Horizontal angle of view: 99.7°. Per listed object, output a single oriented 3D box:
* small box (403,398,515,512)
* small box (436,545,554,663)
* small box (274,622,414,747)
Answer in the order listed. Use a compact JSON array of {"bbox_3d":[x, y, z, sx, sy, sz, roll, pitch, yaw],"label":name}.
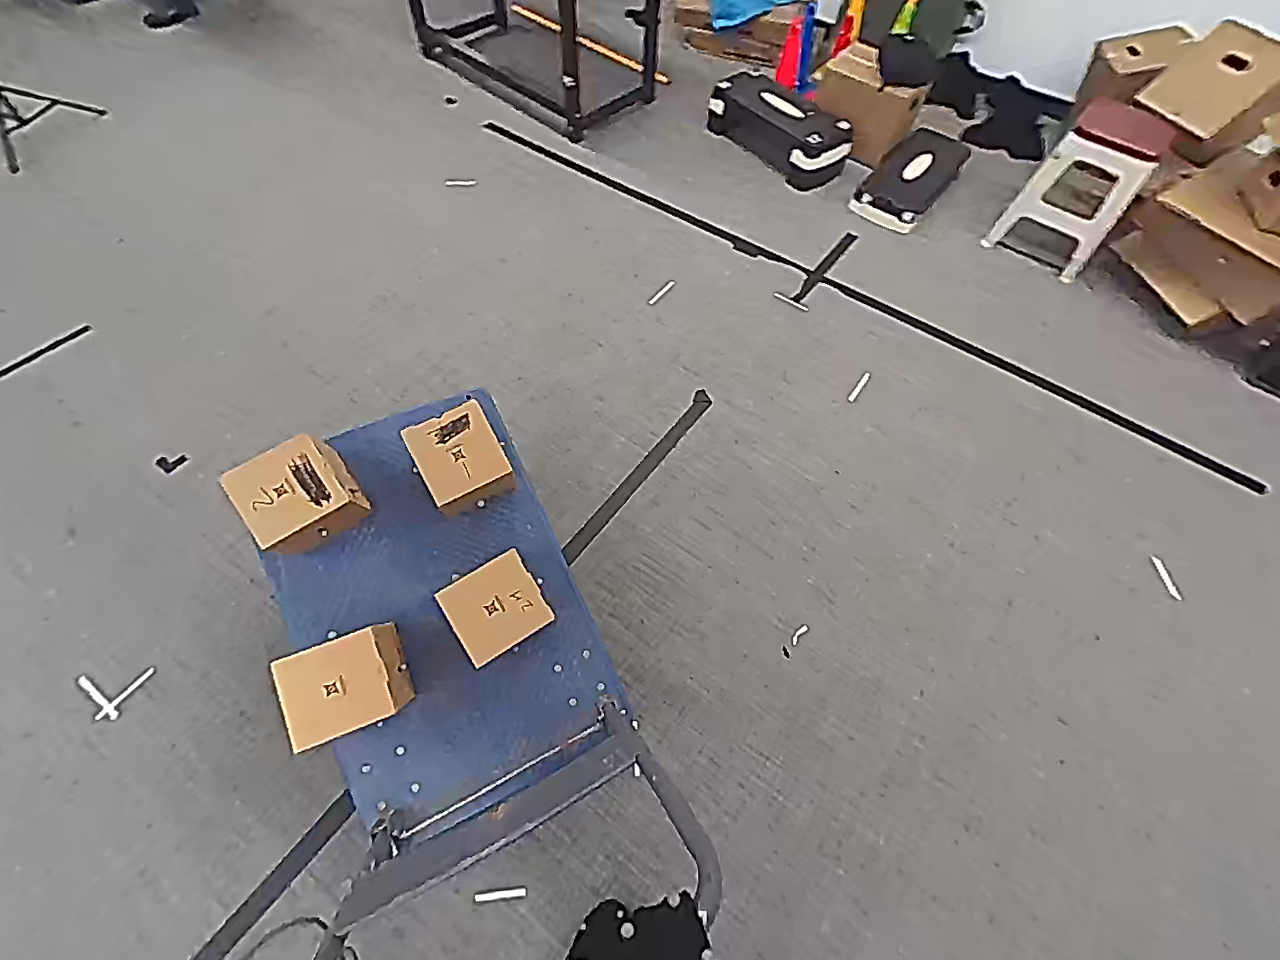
[{"bbox_3d":[-0.386,-0.048,1.176,0.168,0.176,0.179,-28,85,-15],"label":"small box"},{"bbox_3d":[-0.294,0.256,1.129,0.179,0.176,0.168,-31,86,-15],"label":"small box"},{"bbox_3d":[-0.563,0.385,1.050,0.179,0.176,0.168,-19,82,-16],"label":"small box"}]
